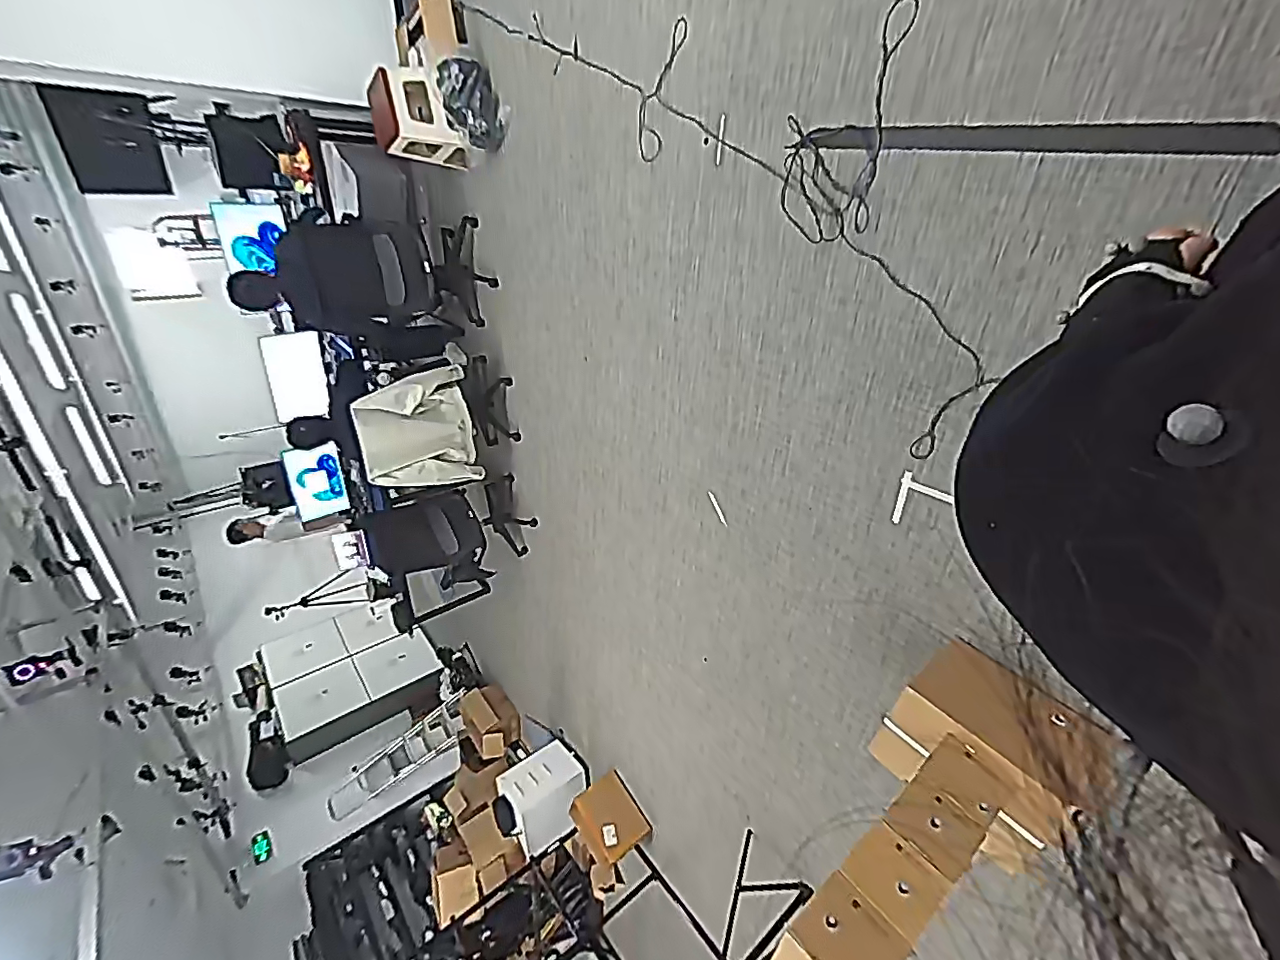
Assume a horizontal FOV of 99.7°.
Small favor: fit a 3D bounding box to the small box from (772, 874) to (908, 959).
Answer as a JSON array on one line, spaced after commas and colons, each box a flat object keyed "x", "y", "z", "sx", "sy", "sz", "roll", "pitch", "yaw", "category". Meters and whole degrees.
[{"x": 0.381, "y": 0.911, "z": 1.035, "sx": 0.168, "sy": 0.176, "sz": 0.179, "roll": 35, "pitch": 134, "yaw": 40, "category": "small box"}]

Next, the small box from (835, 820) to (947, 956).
[{"x": 0.506, "y": 0.861, "z": 1.126, "sx": 0.168, "sy": 0.176, "sz": 0.179, "roll": 35, "pitch": 132, "yaw": 39, "category": "small box"}]

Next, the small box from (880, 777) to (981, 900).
[{"x": 0.632, "y": 0.819, "z": 1.220, "sx": 0.168, "sy": 0.176, "sz": 0.179, "roll": 37, "pitch": 133, "yaw": 38, "category": "small box"}]
